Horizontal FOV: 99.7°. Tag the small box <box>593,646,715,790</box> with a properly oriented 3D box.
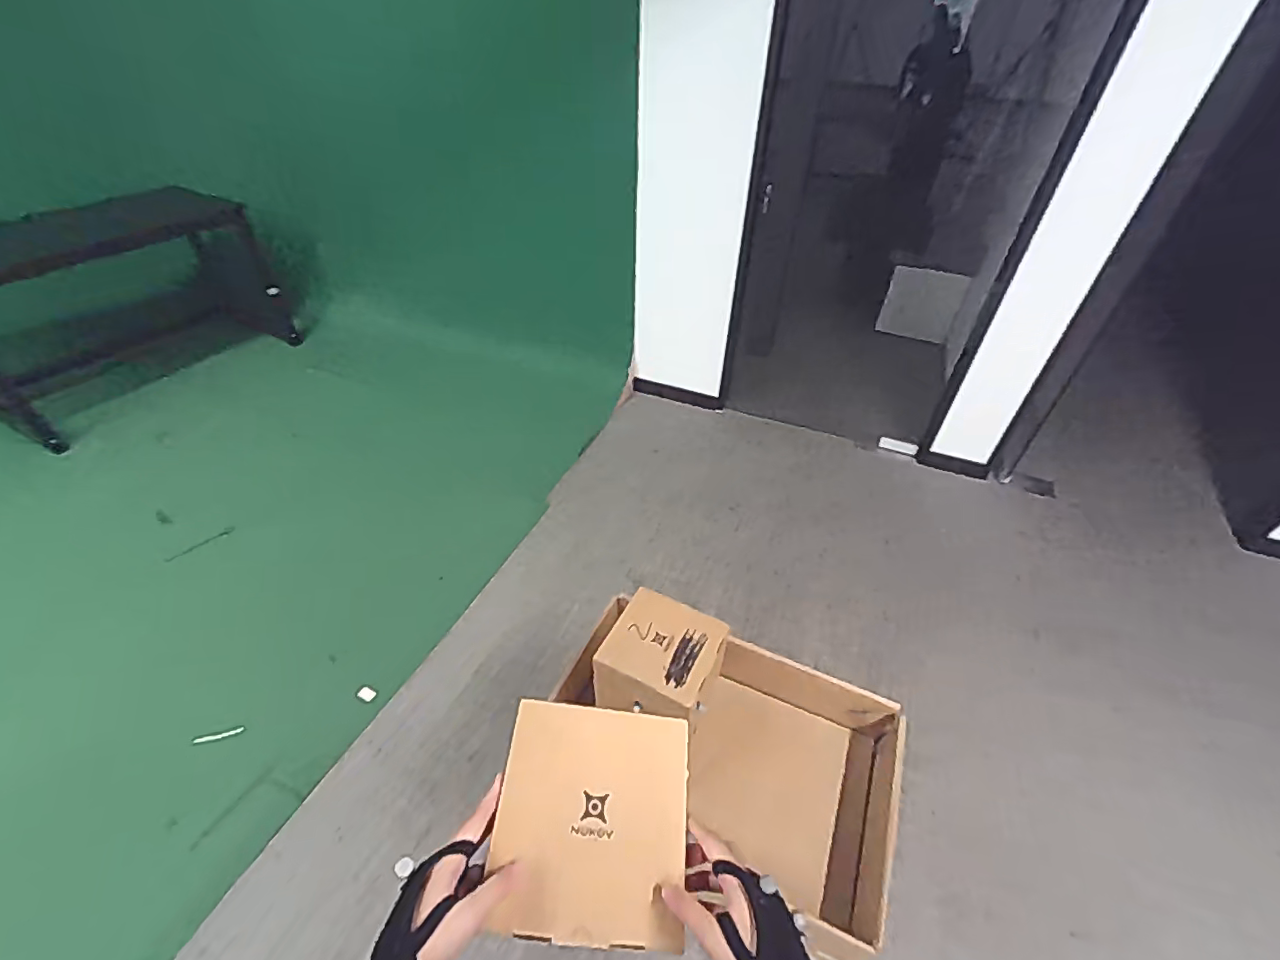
[{"bbox_3d":[0.027,0.460,1.036,0.179,0.176,0.168,19,44,19],"label":"small box"}]
